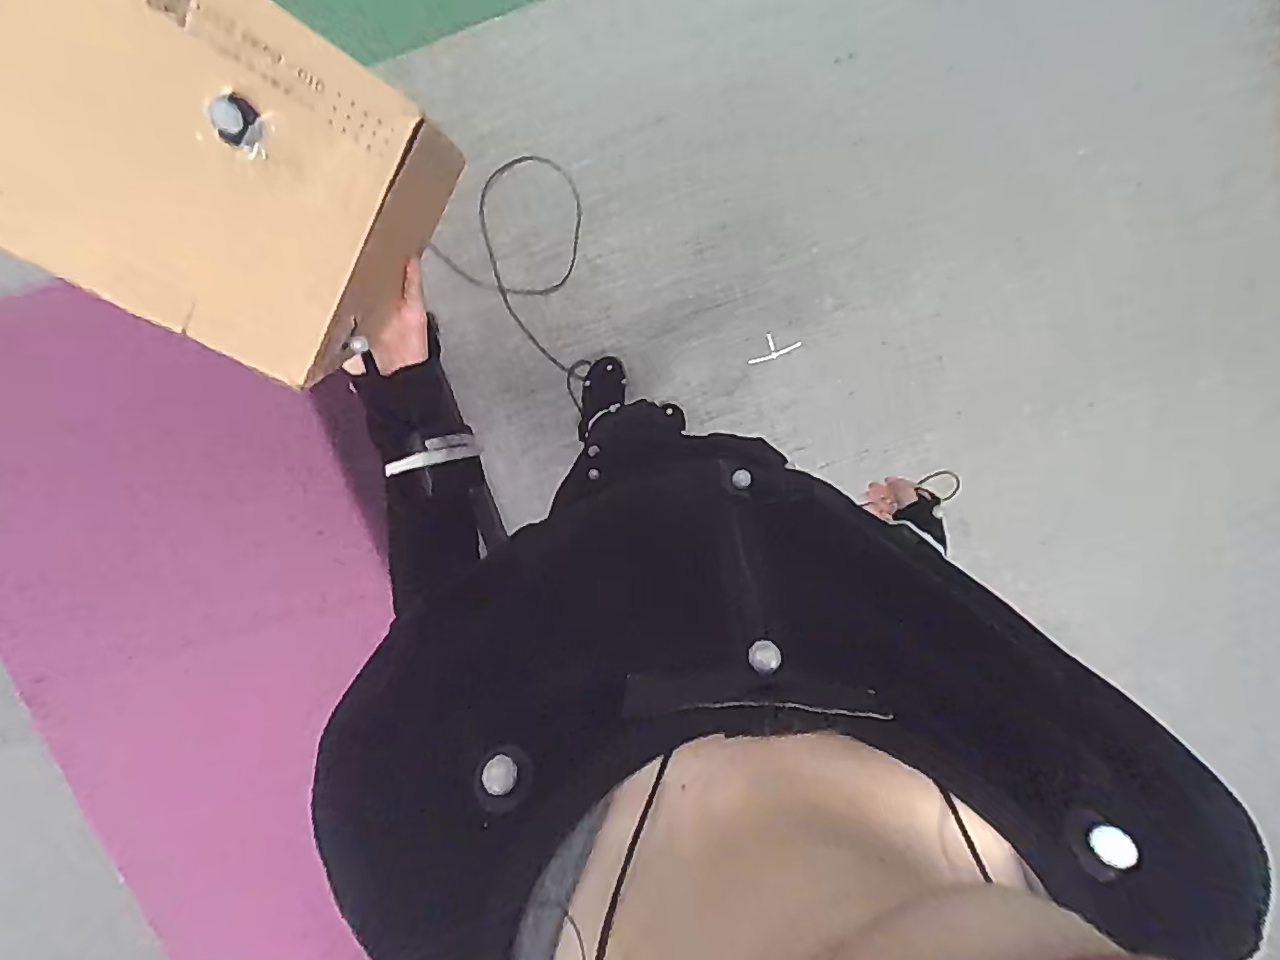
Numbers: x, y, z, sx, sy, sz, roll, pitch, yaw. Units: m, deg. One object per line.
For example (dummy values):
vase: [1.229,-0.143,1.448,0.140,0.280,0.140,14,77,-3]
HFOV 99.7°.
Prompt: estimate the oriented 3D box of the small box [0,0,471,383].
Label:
small box: [-0.224,-0.192,0.339,0.168,0.179,0.176,29,106,-20]
